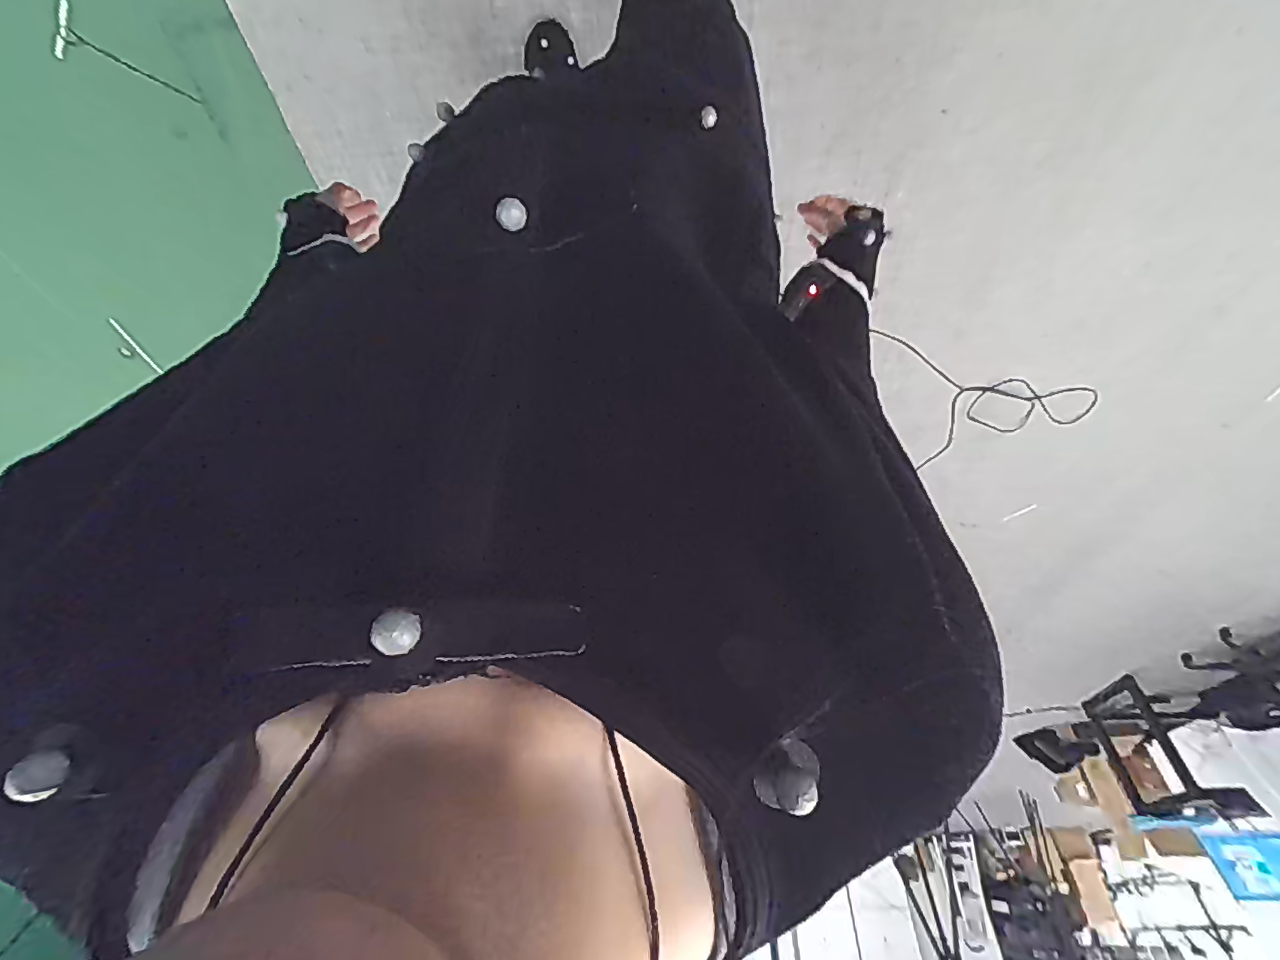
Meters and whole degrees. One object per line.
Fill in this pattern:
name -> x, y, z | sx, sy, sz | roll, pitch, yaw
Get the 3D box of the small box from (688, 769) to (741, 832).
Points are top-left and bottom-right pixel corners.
small box -> 0.259, 1.135, 1.913 | 0.179, 0.176, 0.168 | -4, 140, 4
